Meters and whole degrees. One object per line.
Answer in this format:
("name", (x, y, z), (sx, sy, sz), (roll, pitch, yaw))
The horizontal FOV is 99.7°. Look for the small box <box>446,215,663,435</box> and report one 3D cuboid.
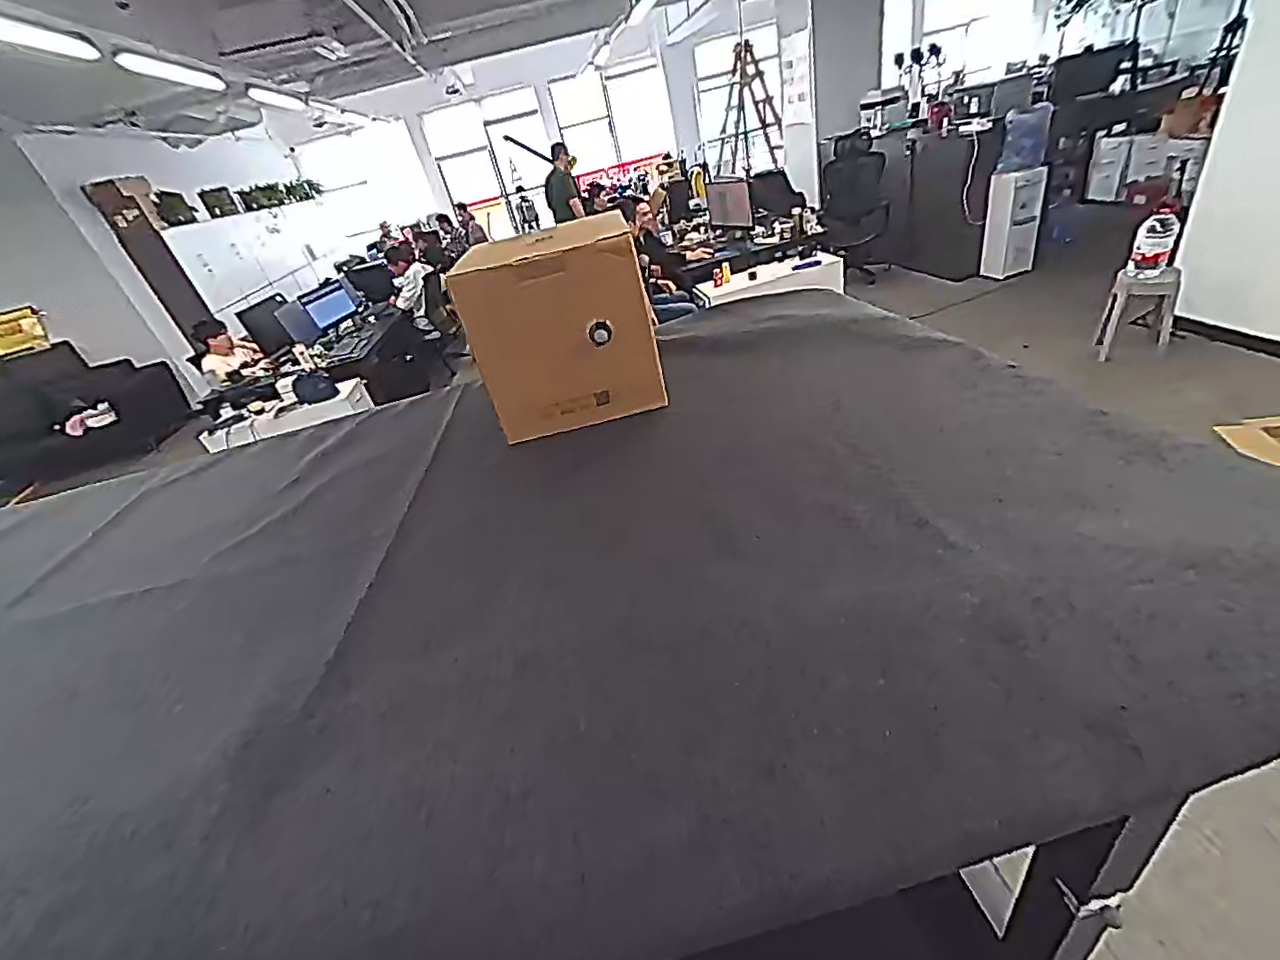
("small box", (-0.077, -0.159, 0.564), (0.168, 0.176, 0.179), (-12, 32, 1))
